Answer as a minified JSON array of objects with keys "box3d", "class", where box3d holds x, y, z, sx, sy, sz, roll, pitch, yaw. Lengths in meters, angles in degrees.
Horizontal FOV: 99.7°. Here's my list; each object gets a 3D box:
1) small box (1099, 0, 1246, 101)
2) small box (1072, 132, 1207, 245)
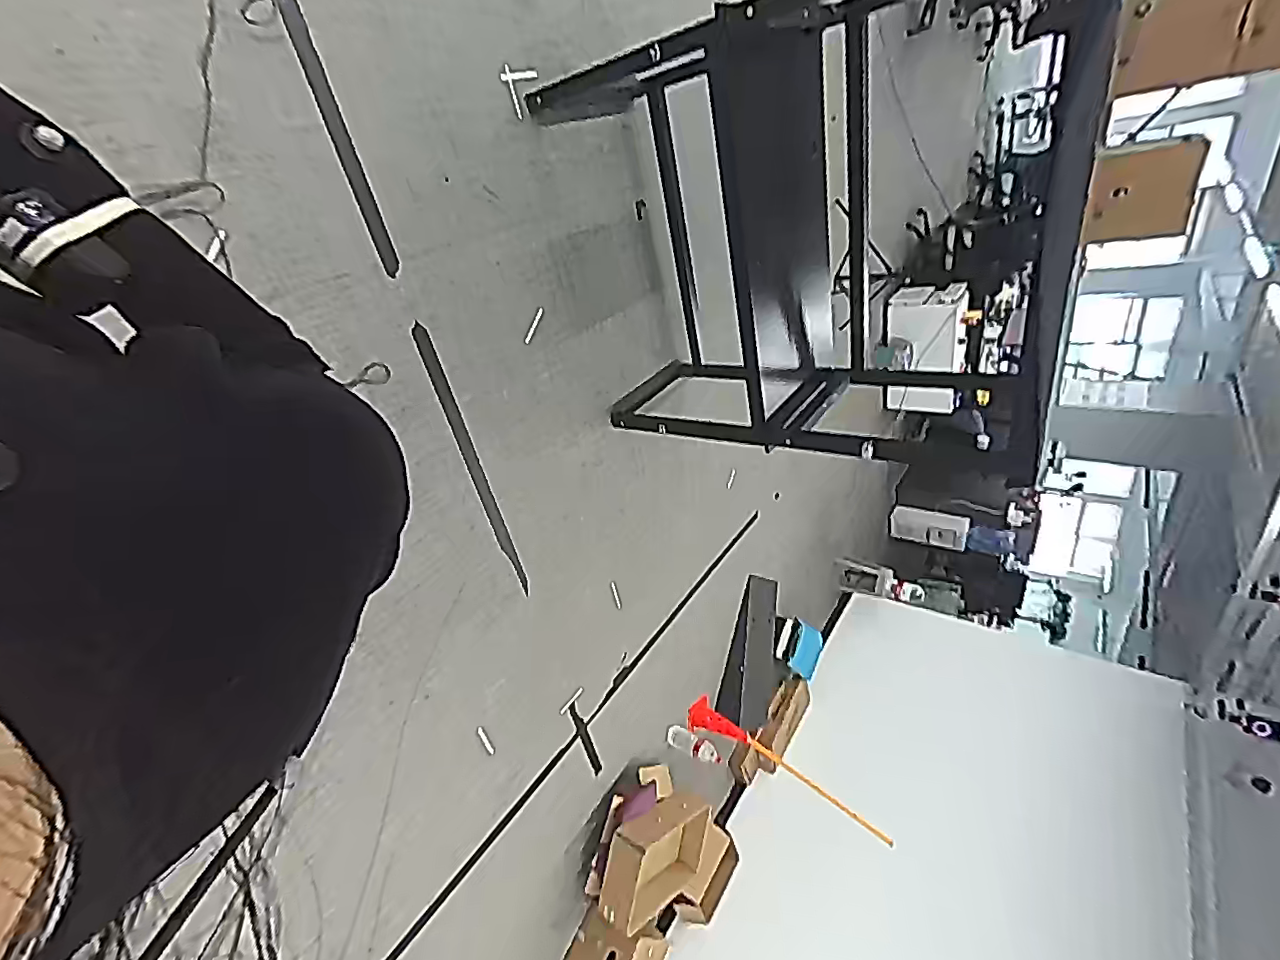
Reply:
[{"box3d":[0.952,-0.806,0.974,0.179,0.176,0.168,-46,133,-38],"class":"small box"},{"box3d":[1.010,-0.594,1.107,0.179,0.176,0.168,-43,131,-39],"class":"small box"}]
